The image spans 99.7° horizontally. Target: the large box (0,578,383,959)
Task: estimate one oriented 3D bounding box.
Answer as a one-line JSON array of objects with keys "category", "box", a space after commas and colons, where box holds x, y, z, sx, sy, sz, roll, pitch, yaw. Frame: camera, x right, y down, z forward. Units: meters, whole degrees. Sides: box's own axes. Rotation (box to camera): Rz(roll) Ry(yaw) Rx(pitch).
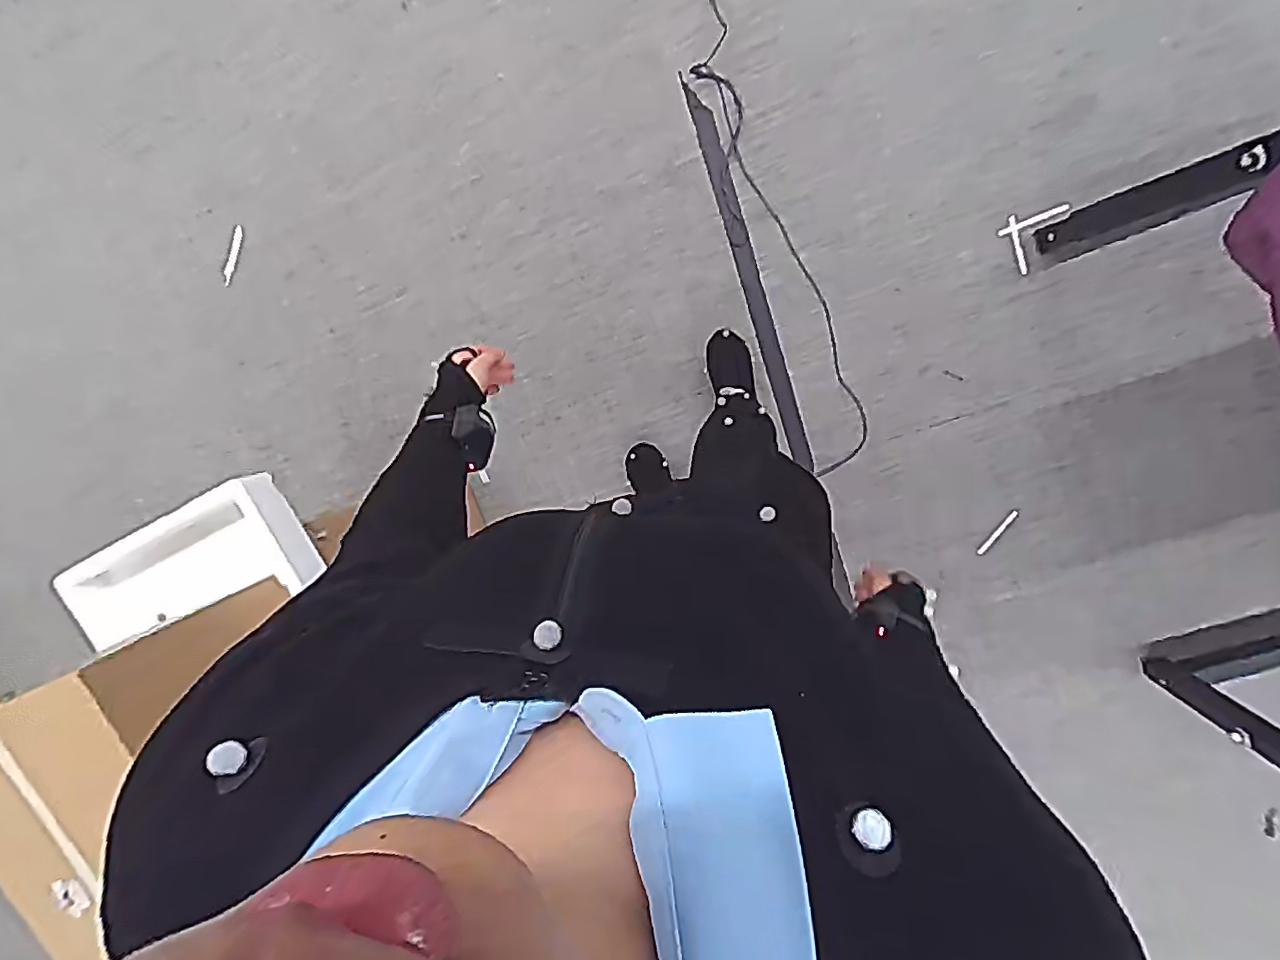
[{"category": "large box", "box": [-0.690, 0.427, 0.828, 0.320, 0.320, 0.408, -23, 99, 11]}]
